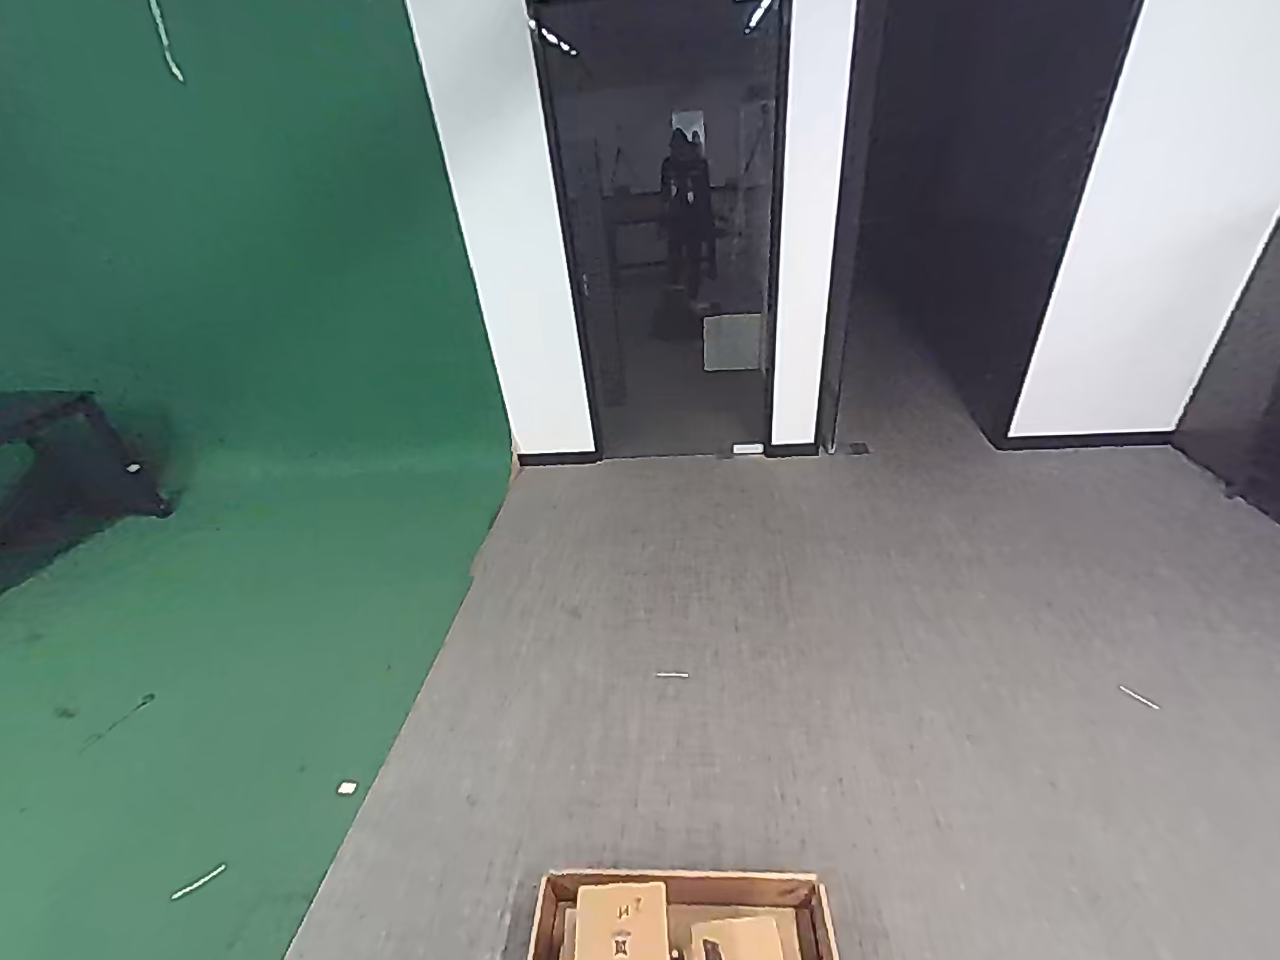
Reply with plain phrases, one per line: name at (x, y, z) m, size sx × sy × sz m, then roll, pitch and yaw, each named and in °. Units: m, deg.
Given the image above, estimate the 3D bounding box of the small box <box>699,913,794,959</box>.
small box at (0.218, 0.995, 1.069) m, size 0.179 × 0.176 × 0.168 m, roll -7°, pitch 34°, yaw 1°

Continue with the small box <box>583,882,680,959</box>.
small box at (-0.011, 0.877, 0.995) m, size 0.168 × 0.176 × 0.179 m, roll -4°, pitch 35°, yaw 1°
